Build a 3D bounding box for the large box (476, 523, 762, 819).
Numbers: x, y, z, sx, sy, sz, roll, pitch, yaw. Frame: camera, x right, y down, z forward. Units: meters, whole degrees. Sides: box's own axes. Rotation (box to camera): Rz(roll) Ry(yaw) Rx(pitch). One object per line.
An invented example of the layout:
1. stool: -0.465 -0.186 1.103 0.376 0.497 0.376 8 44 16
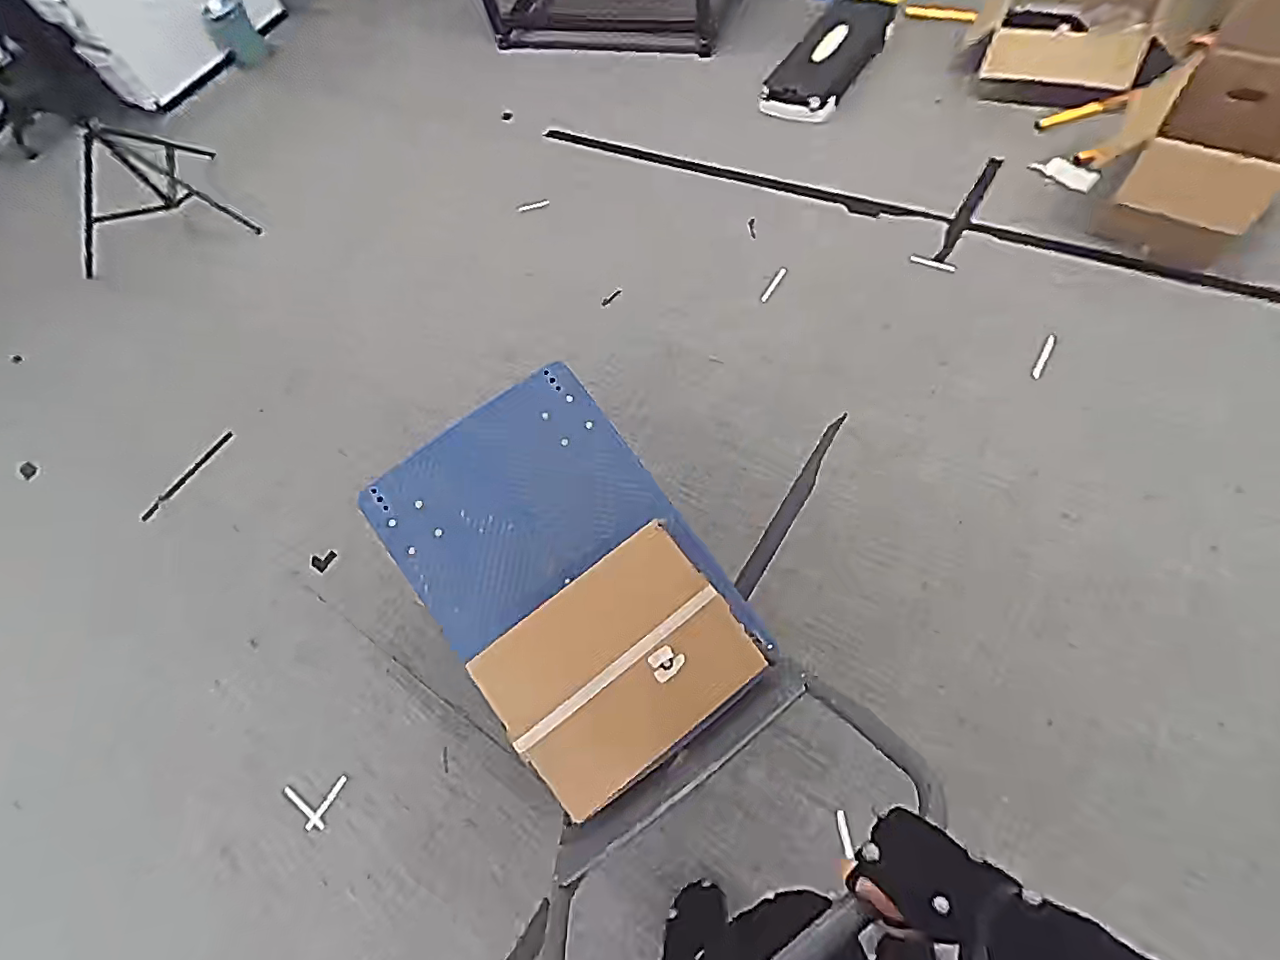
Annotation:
1. large box: -0.040 0.340 1.063 0.408 0.320 0.320 -38 85 -8
